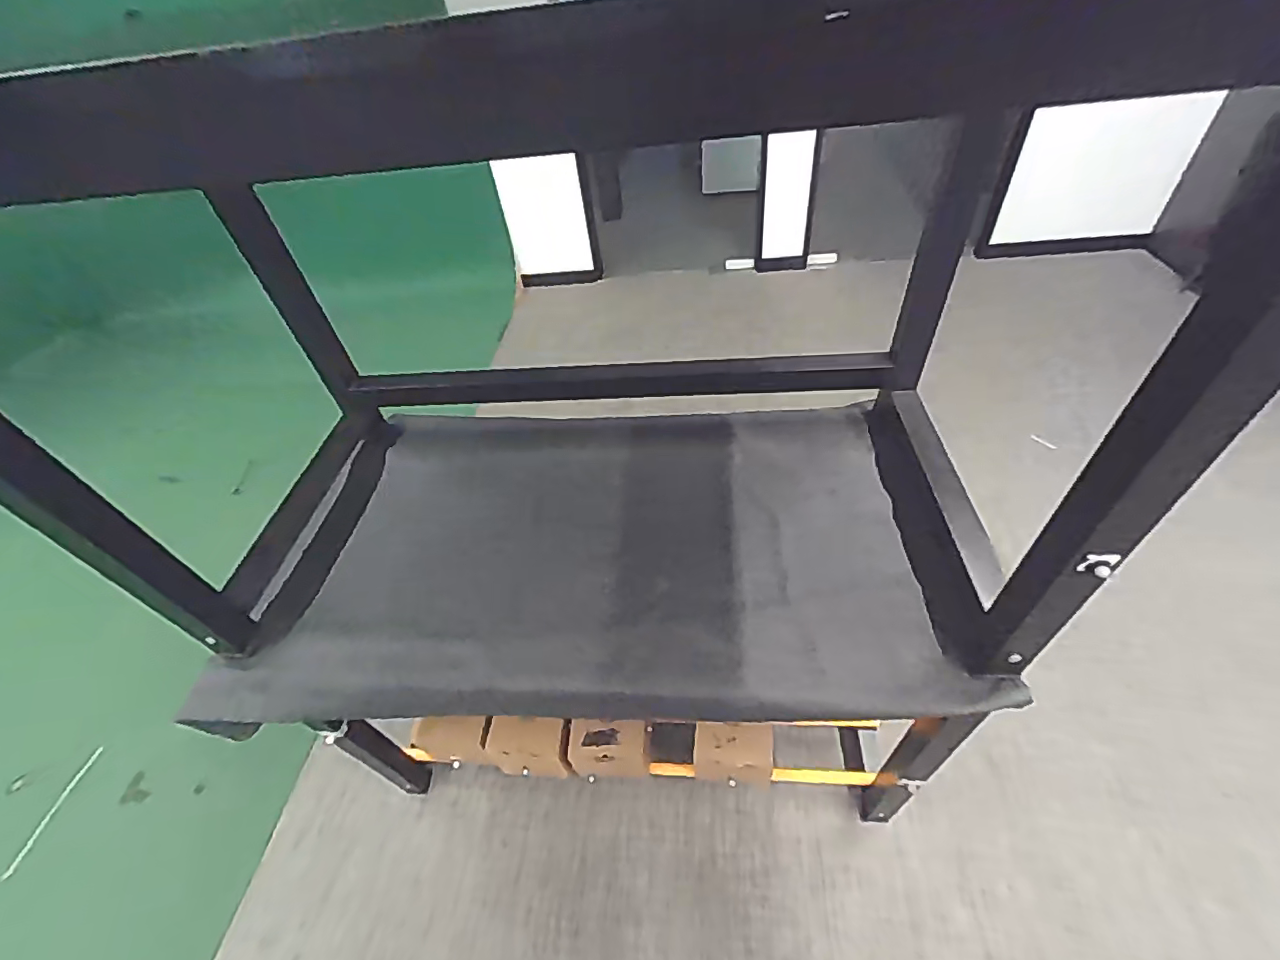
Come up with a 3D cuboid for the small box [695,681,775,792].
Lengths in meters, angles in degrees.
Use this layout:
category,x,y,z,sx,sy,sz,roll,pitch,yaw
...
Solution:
category,x,y,z,sx,sy,sz,roll,pitch,yaw
small box,0.217,0.585,1.233,0.168,0.176,0.179,2,48,12
